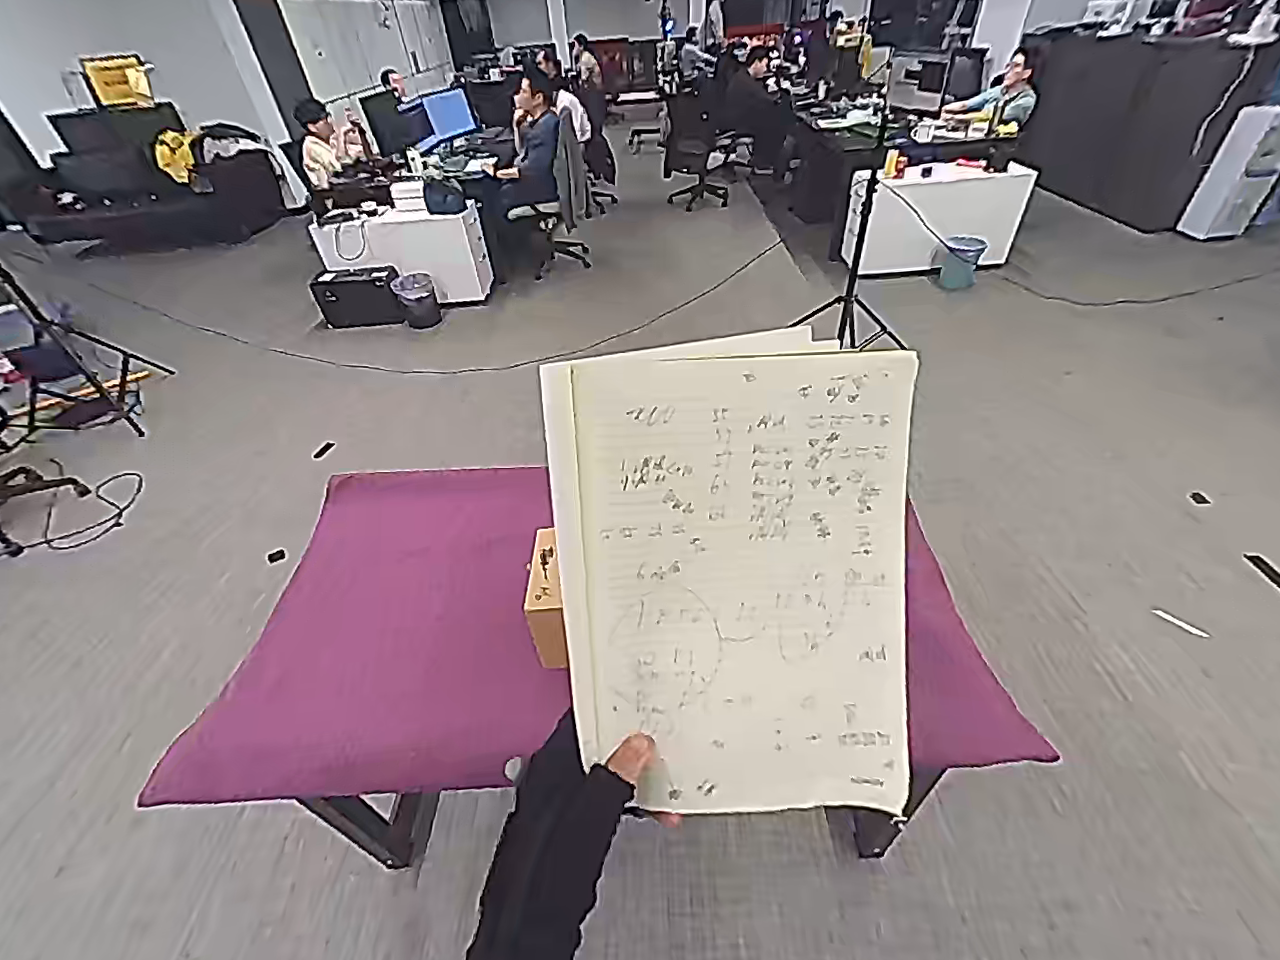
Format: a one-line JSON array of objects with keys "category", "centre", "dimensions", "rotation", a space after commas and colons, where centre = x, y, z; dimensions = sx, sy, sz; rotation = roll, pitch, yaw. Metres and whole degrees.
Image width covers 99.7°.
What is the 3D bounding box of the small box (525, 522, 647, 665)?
[{"category": "small box", "centre": [-0.077, 0.188, 0.892], "dimensions": [0.179, 0.176, 0.168], "rotation": [-3, 40, 2]}]
